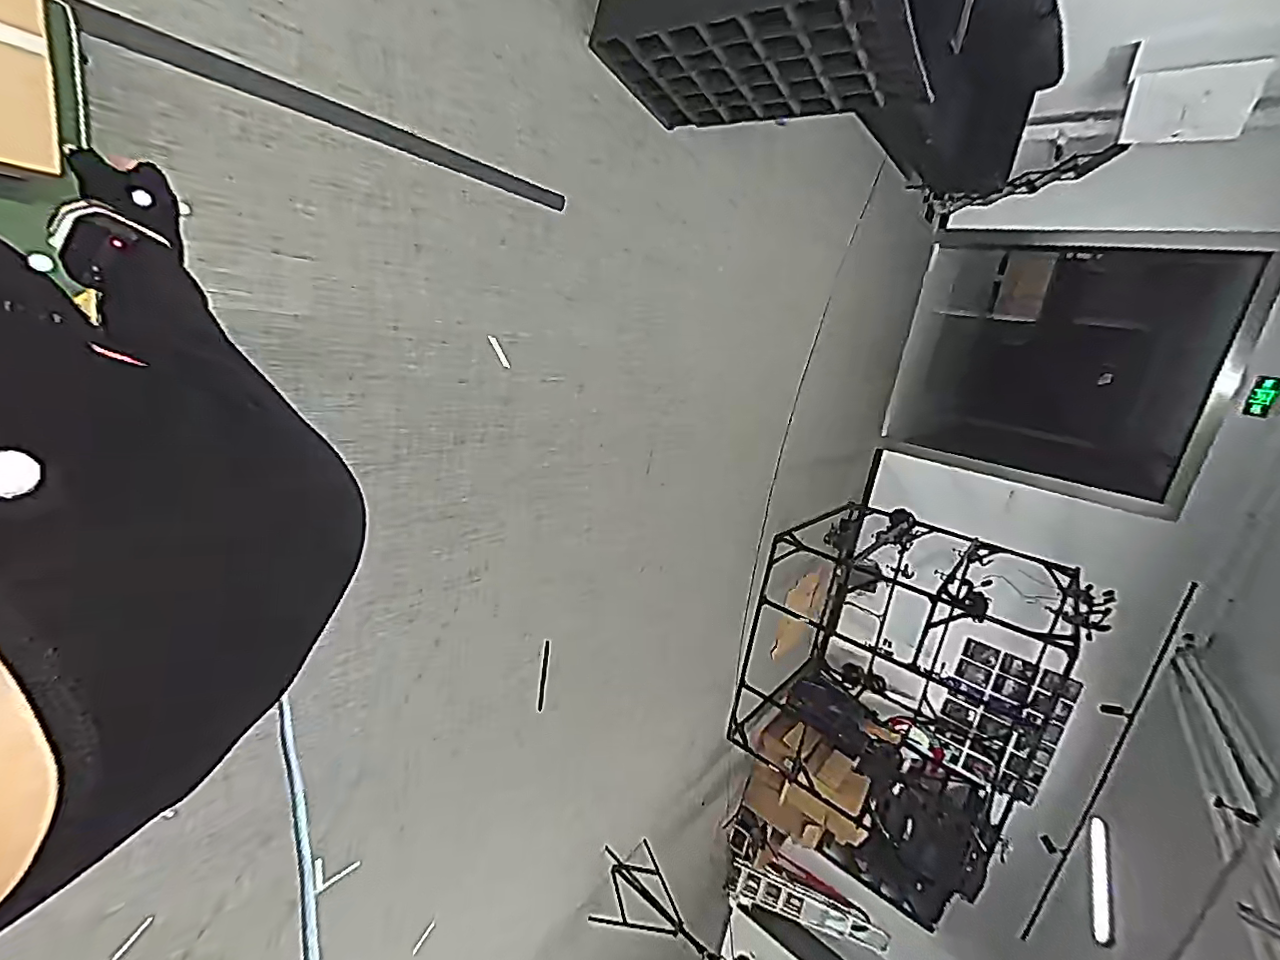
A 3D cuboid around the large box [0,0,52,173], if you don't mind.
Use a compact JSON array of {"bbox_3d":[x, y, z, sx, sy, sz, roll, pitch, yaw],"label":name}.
[{"bbox_3d":[-1.057,-0.608,0.659,0.408,0.320,0.320,-11,116,-53],"label":"large box"}]
